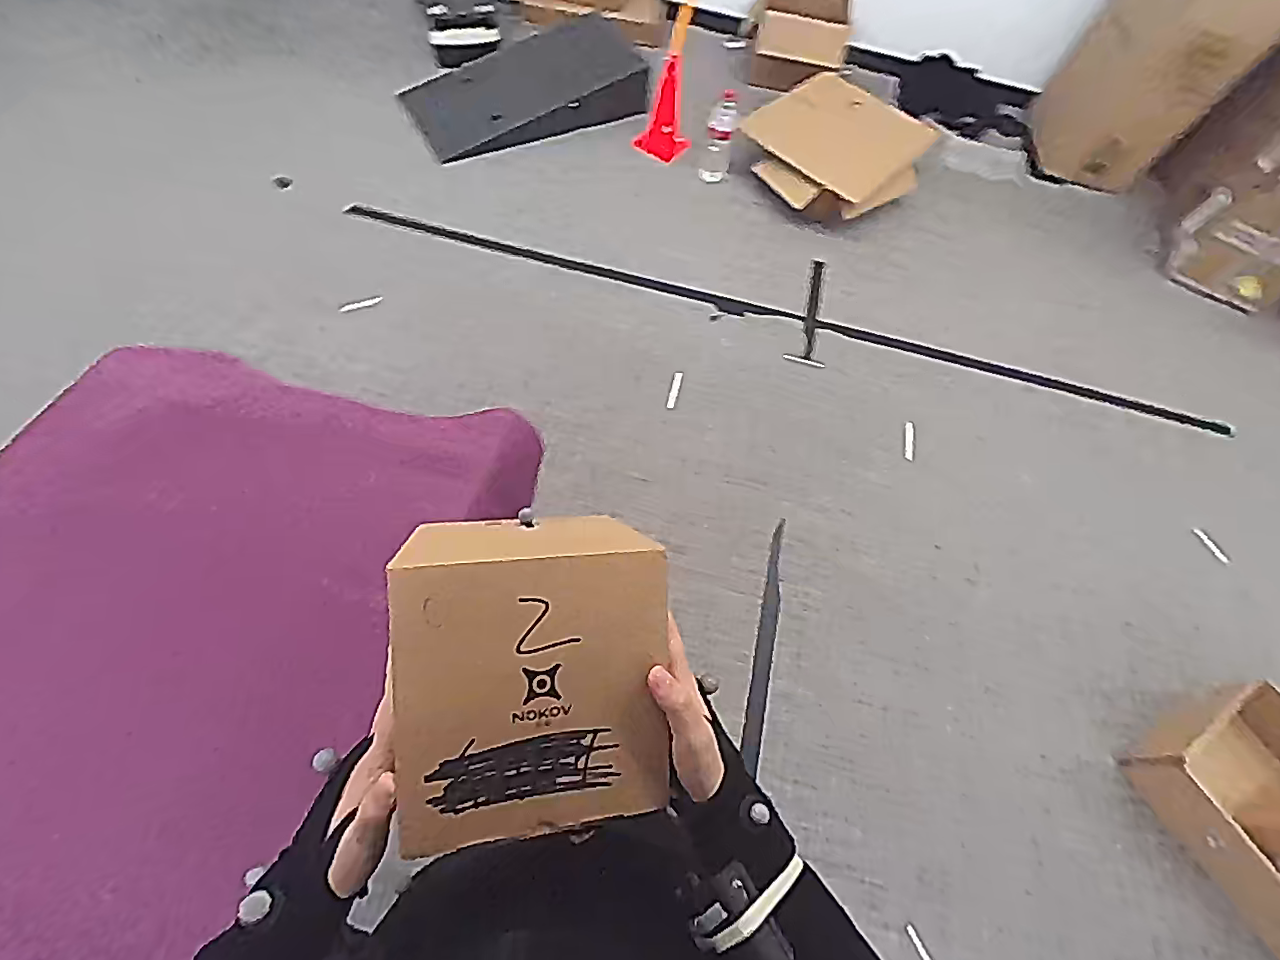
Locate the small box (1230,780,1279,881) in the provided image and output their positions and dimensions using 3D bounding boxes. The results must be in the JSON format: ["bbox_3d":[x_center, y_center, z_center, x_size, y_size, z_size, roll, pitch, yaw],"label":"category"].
[{"bbox_3d":[1.568,0.826,1.265,0.179,0.176,0.168,-23,67,-18],"label":"small box"}]
